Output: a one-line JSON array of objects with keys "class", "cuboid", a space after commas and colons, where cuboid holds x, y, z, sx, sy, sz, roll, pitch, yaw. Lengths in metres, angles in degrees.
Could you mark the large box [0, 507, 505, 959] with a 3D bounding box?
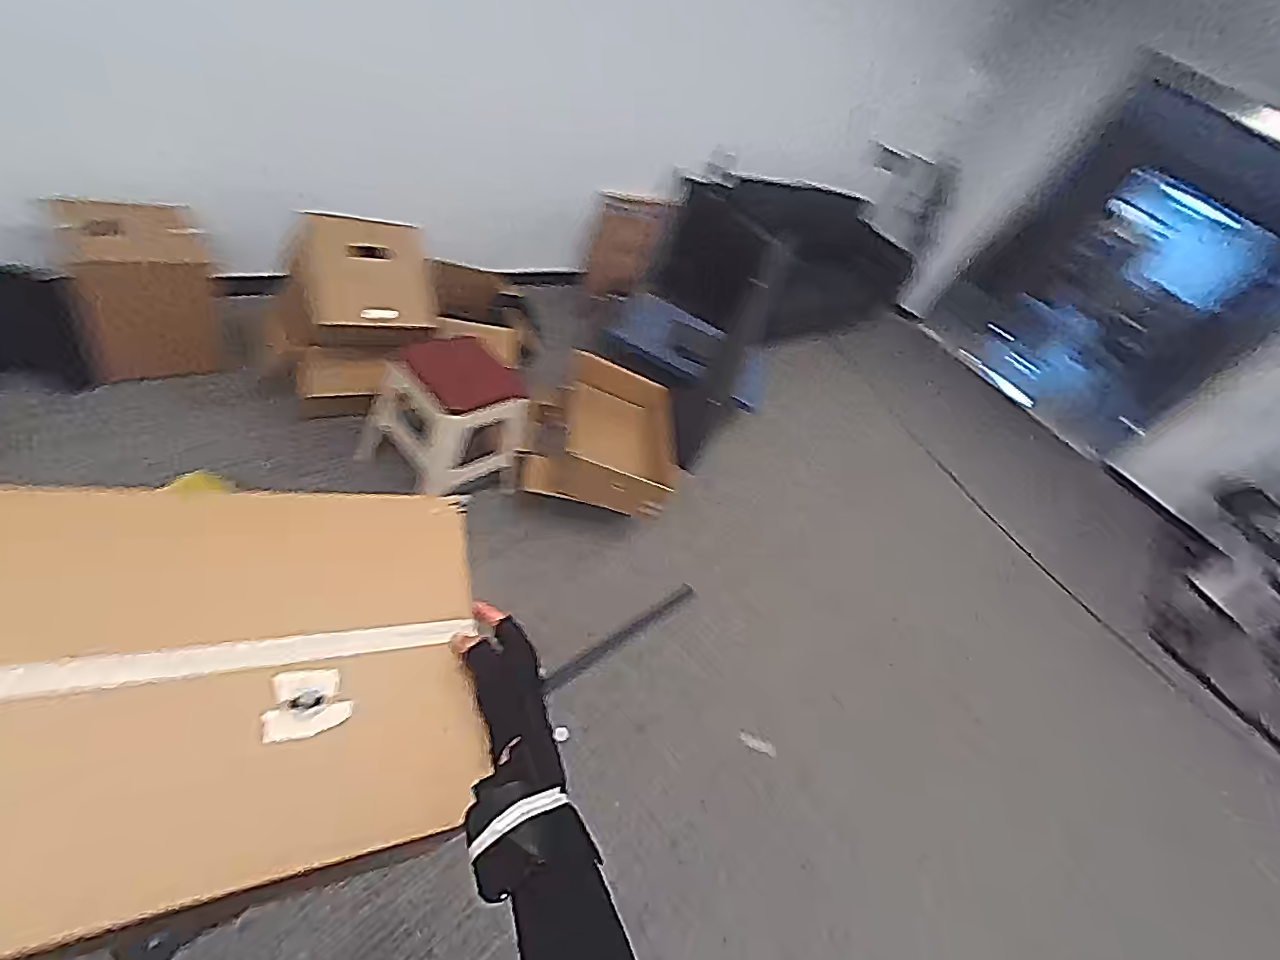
[{"class": "large box", "cuboid": [-0.390, 0.240, 0.530, 0.408, 0.320, 0.320, 4, 53, -32]}]
